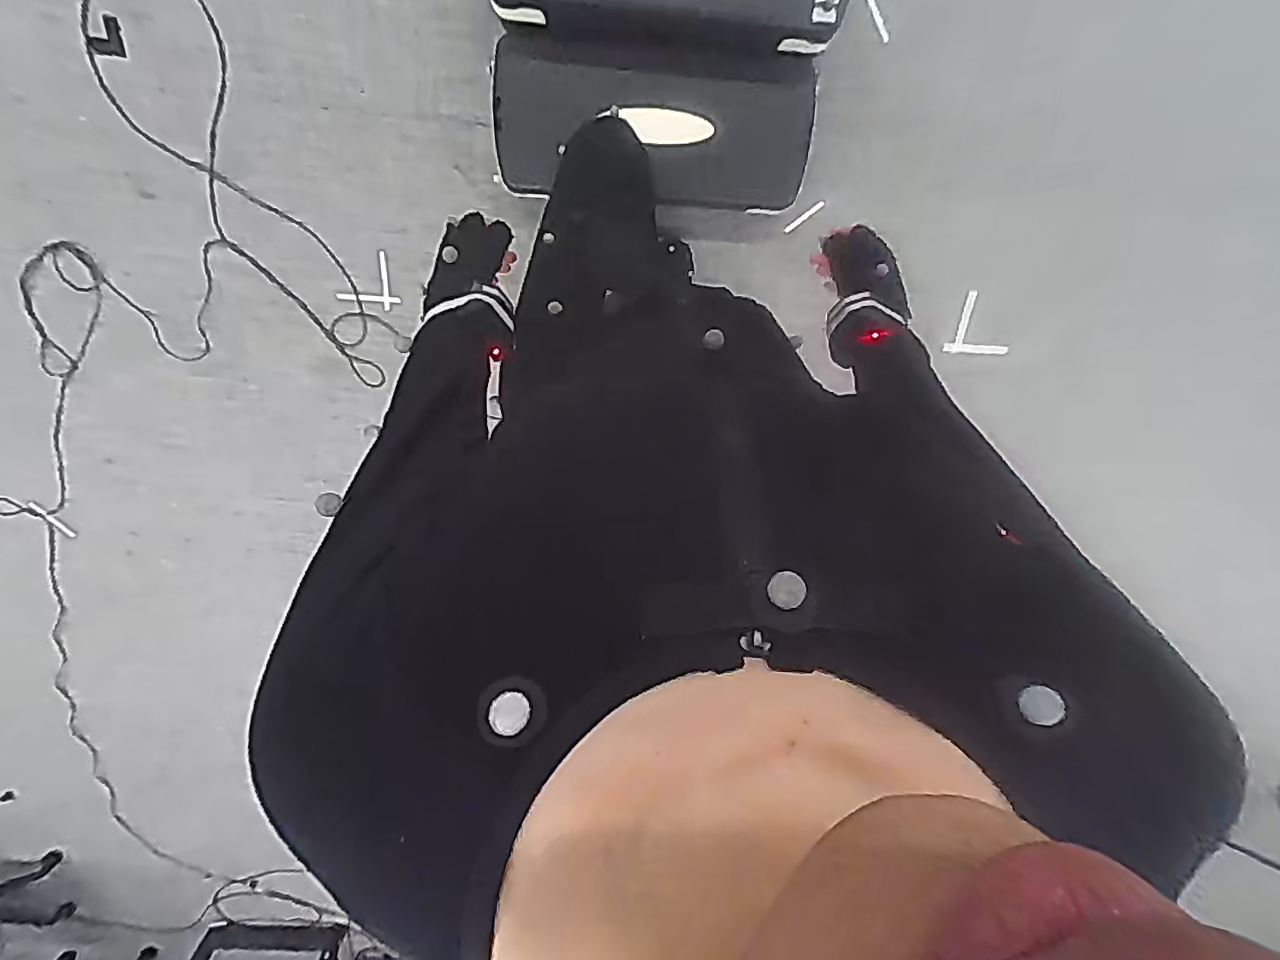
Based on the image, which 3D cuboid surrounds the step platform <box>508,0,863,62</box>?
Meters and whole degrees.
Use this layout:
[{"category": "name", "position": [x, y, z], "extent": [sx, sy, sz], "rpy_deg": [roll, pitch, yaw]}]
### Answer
[{"category": "step platform", "position": [0.085, -0.997, 1.000], "extent": [0.684, 0.204, 0.286], "rpy_deg": [3, 115, -4]}]
